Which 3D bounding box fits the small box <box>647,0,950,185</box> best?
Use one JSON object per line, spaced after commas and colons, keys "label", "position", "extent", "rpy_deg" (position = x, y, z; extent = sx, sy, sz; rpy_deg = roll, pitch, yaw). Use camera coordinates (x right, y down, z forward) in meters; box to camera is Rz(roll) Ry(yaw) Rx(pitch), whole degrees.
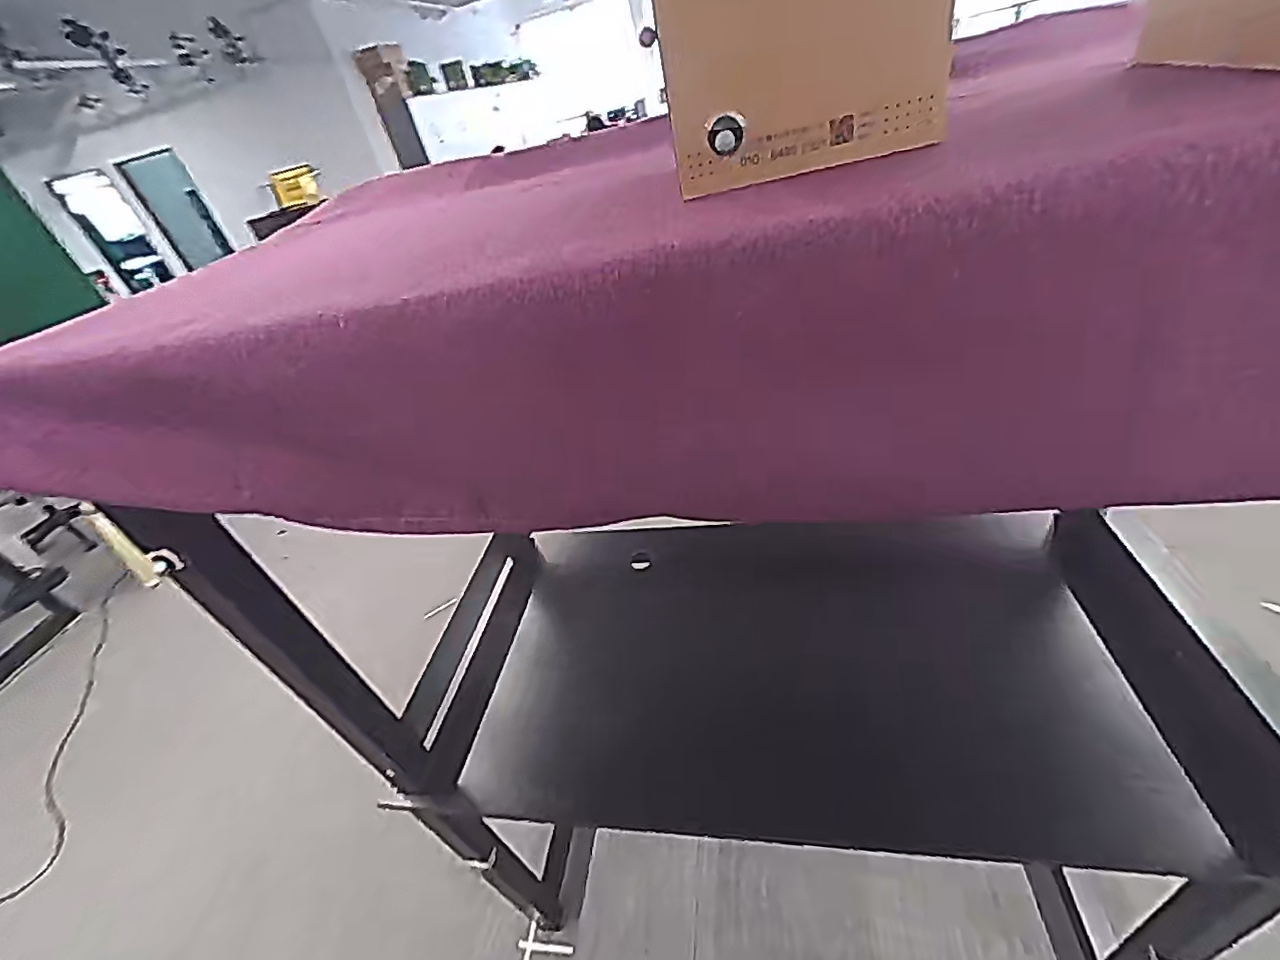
{"label": "small box", "position": [0.093, -0.311, 0.358], "extent": [0.168, 0.176, 0.179], "rpy_deg": [-8, 35, 10]}

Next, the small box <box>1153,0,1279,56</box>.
{"label": "small box", "position": [0.411, -0.330, 0.264], "extent": [0.168, 0.176, 0.179], "rpy_deg": [-3, 37, 17]}
